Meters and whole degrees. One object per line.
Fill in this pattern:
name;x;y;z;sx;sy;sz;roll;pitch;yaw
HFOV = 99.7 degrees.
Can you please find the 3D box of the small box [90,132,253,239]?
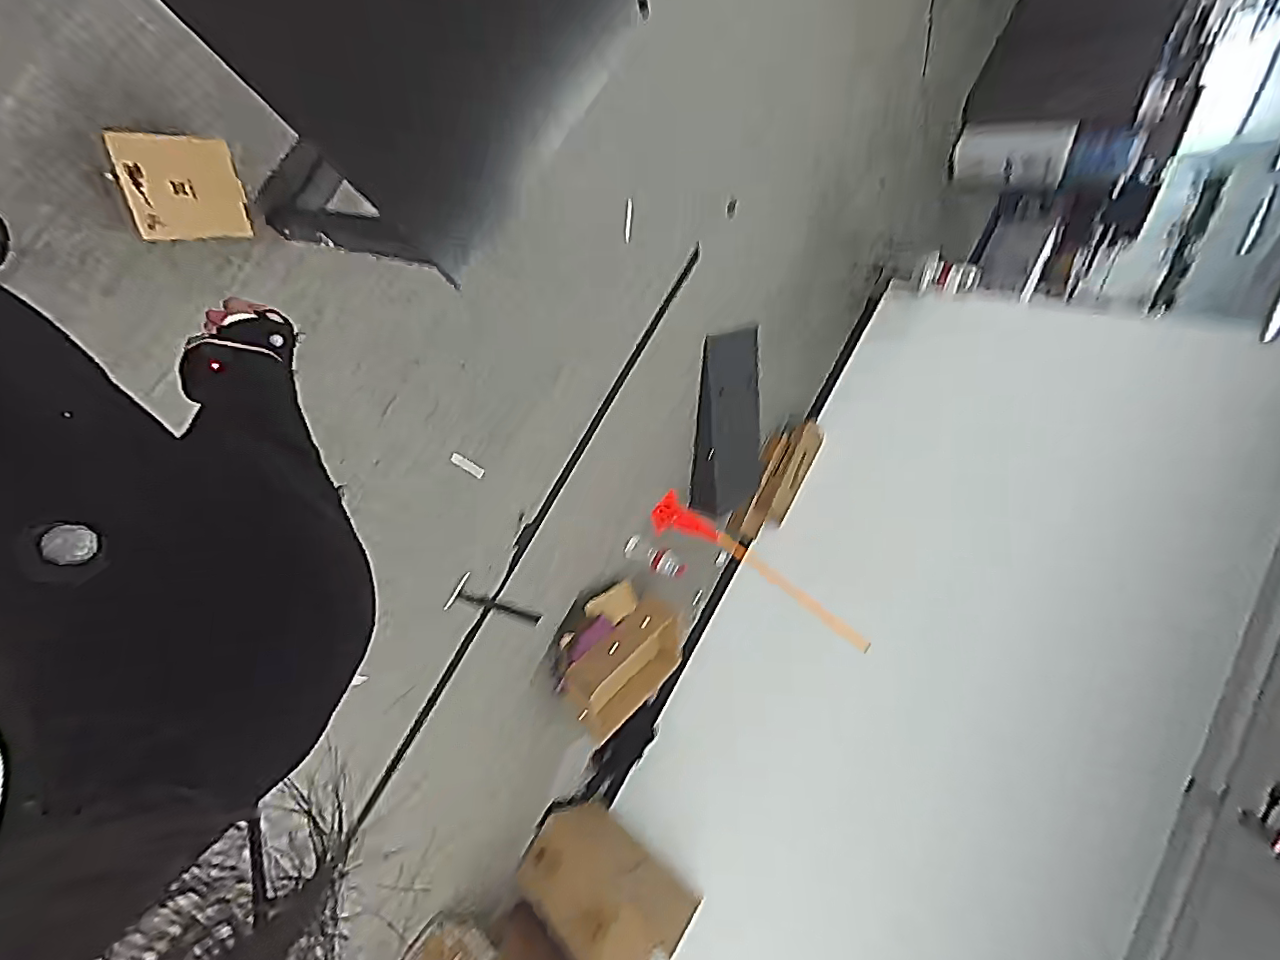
small box;-0.882;-0.555;1.024;0.179;0.176;0.168;-27;130;-42
